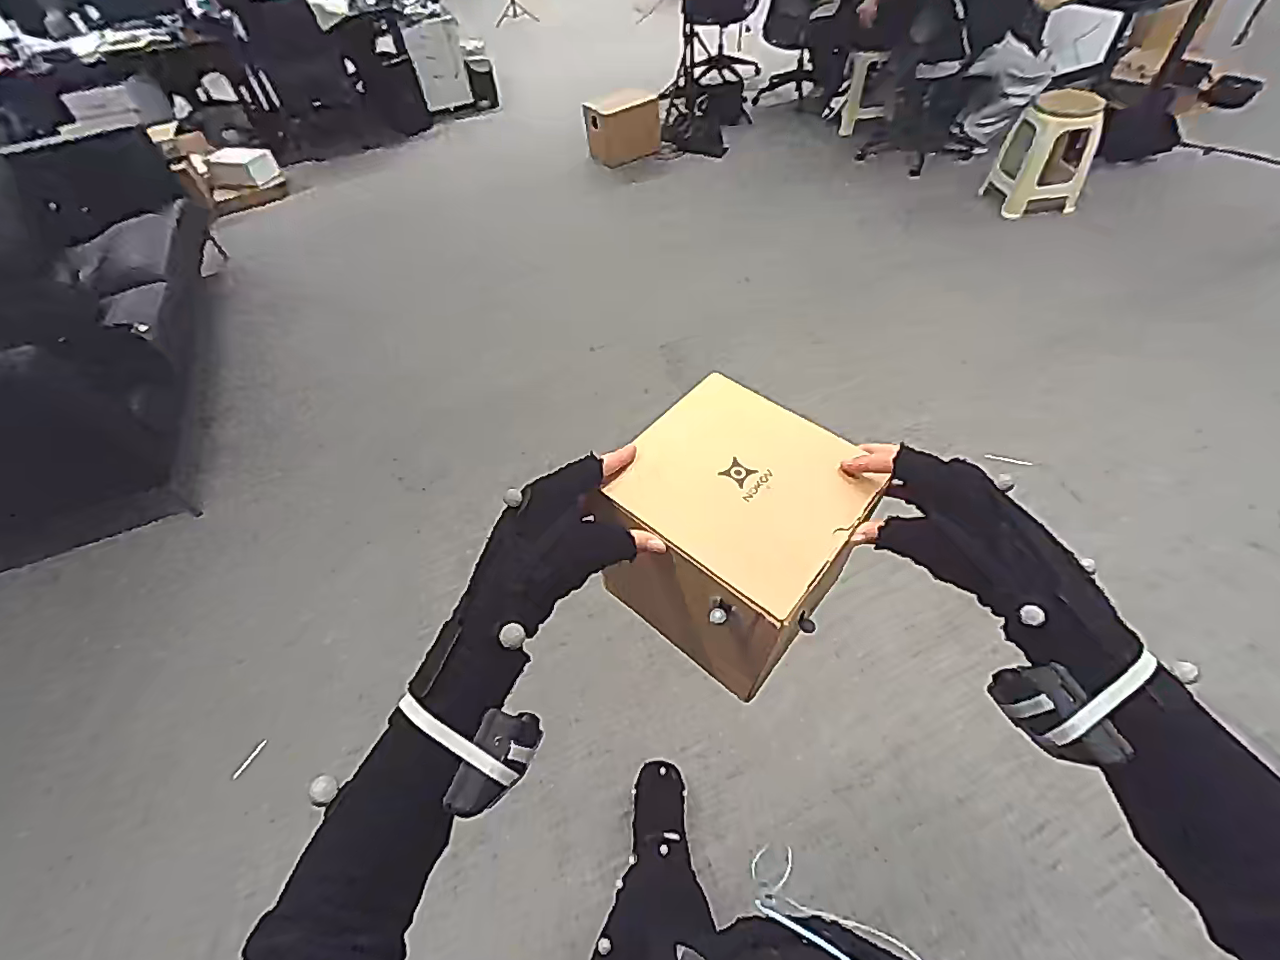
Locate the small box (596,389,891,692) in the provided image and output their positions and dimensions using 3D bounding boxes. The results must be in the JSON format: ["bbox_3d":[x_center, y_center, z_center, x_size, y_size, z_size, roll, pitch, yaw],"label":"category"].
[{"bbox_3d":[0.081,0.056,0.485,0.179,0.176,0.168,34,60,24],"label":"small box"}]
